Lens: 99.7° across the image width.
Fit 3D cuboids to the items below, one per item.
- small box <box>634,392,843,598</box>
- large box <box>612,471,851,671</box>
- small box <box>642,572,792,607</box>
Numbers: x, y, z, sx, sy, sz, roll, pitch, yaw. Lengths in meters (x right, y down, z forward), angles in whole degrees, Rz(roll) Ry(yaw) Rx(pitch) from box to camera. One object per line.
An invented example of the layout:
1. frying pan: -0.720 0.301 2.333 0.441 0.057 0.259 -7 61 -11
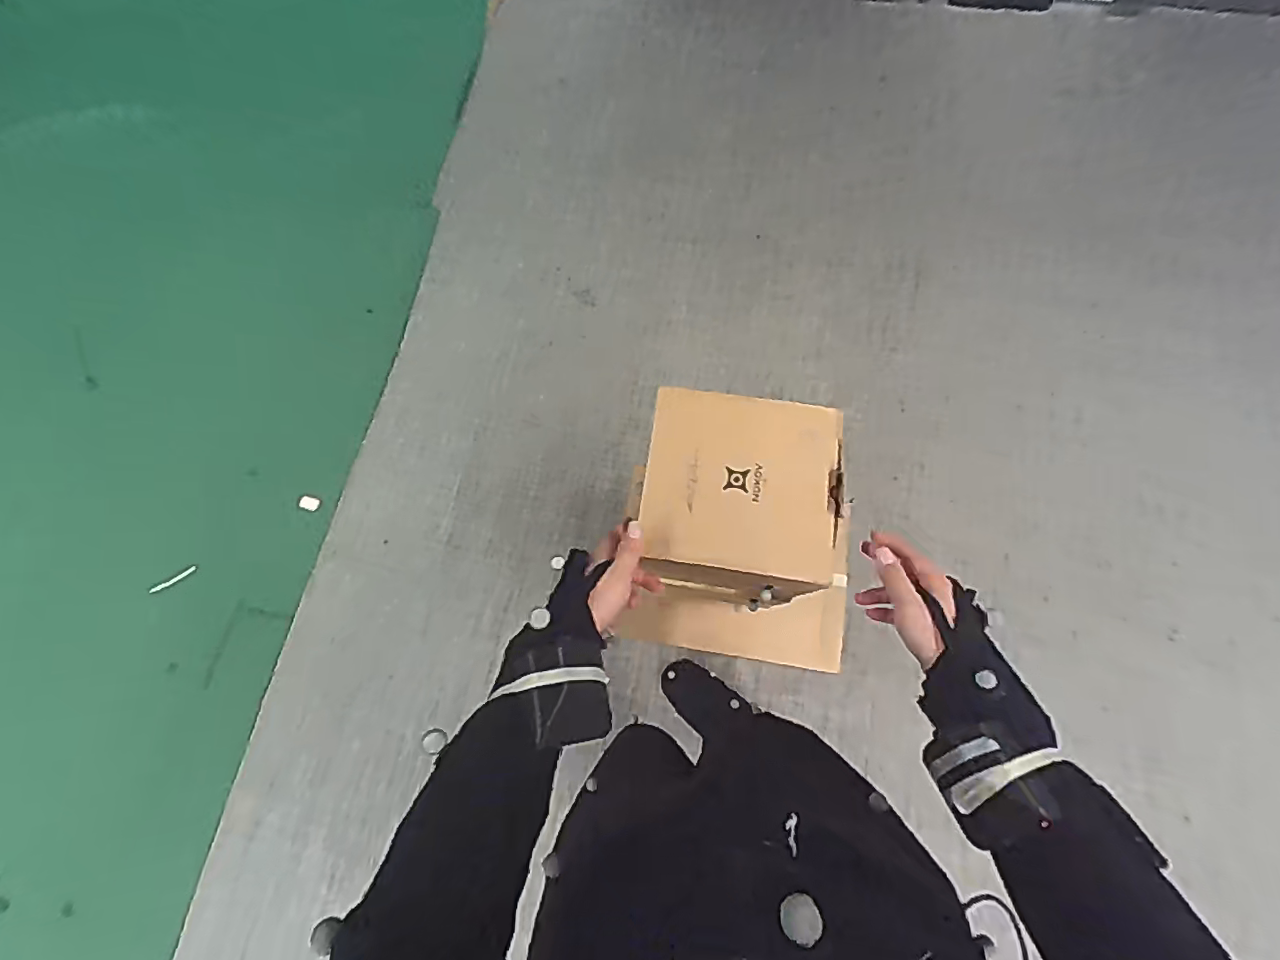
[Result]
1. small box: 0.096 0.026 0.564 0.179 0.176 0.168 7 73 6
2. large box: 0.173 0.191 1.106 0.408 0.320 0.320 8 76 5
3. small box: 0.104 0.074 0.720 0.179 0.176 0.168 7 75 5
